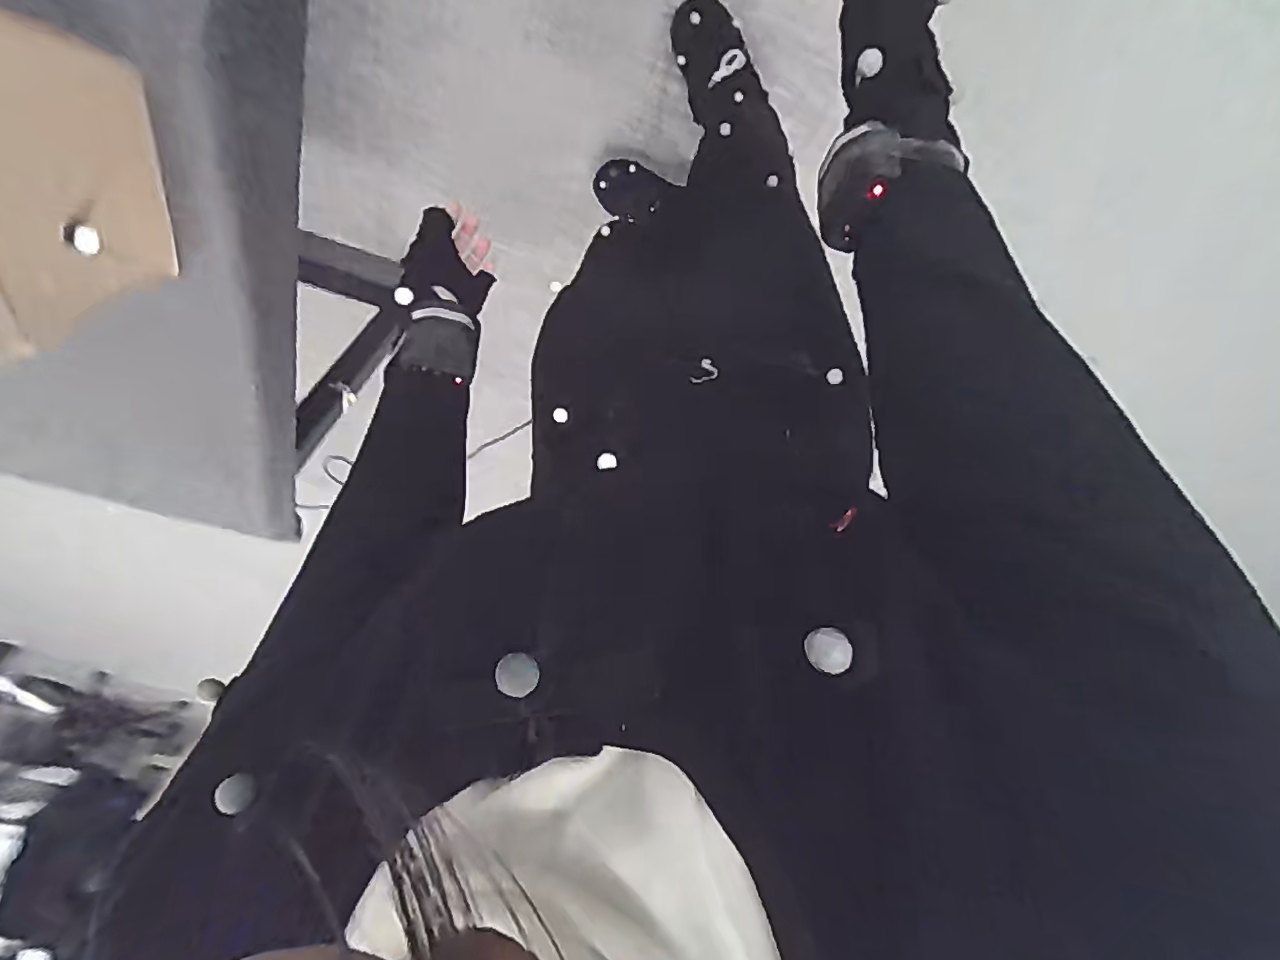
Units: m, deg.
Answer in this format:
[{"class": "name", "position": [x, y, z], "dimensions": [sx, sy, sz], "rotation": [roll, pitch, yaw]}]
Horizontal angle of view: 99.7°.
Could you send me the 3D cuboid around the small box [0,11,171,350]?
[{"class": "small box", "position": [-0.505, -0.236, 0.405], "dimensions": [0.168, 0.176, 0.179], "rotation": [18, 131, -11]}]
